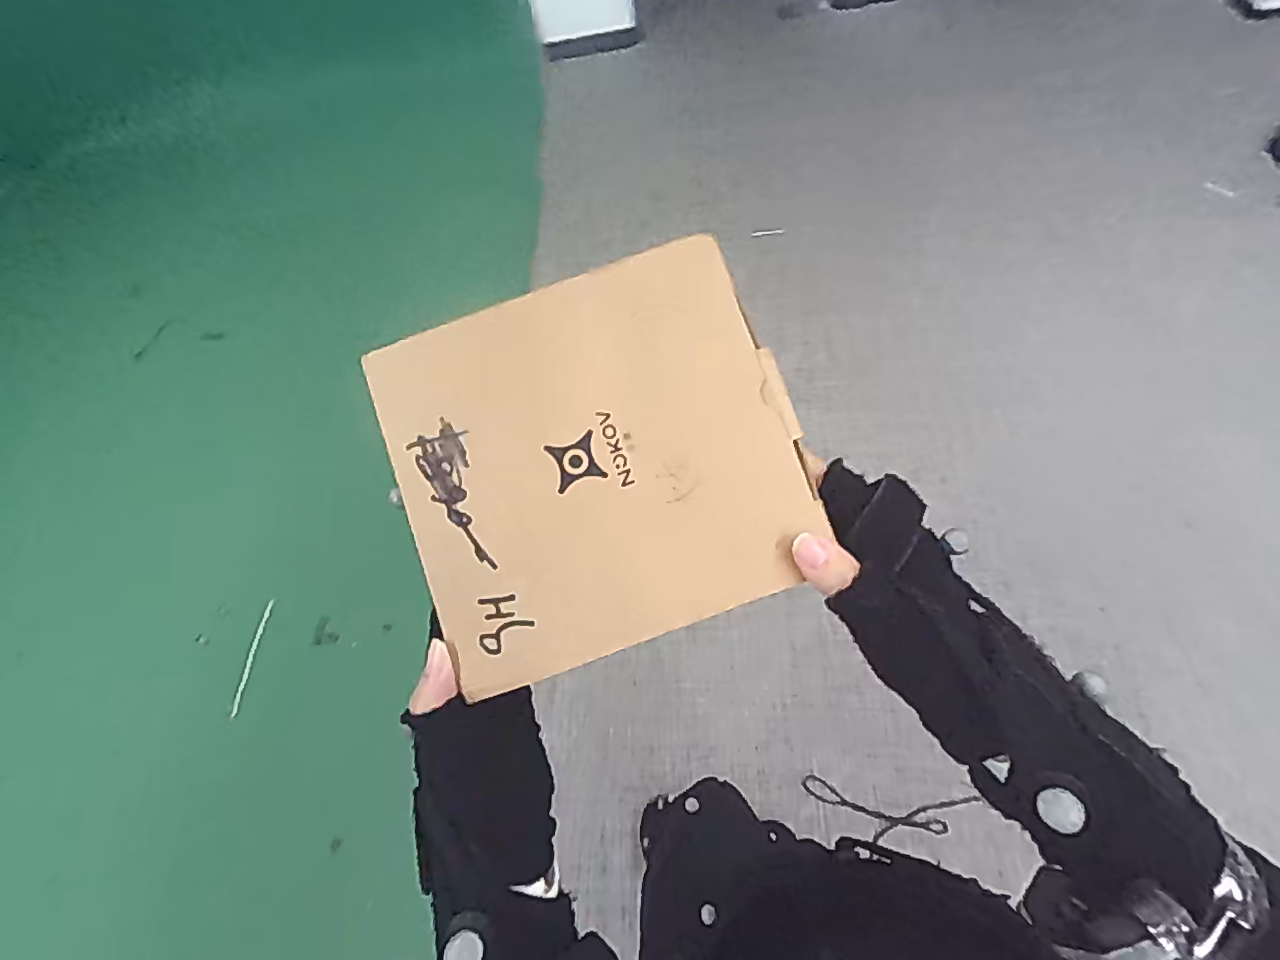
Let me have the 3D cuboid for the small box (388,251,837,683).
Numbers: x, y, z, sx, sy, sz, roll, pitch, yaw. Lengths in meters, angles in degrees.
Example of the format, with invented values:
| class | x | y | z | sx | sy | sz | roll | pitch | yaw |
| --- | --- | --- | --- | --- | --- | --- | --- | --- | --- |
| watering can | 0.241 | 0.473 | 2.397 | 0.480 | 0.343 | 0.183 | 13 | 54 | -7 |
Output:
| class | x | y | z | sx | sy | sz | roll | pitch | yaw |
| --- | --- | --- | --- | --- | --- | --- | --- | --- | --- |
| small box | -0.015 | 0.000 | 0.331 | 0.179 | 0.176 | 0.168 | -18 | 81 | -2 |
